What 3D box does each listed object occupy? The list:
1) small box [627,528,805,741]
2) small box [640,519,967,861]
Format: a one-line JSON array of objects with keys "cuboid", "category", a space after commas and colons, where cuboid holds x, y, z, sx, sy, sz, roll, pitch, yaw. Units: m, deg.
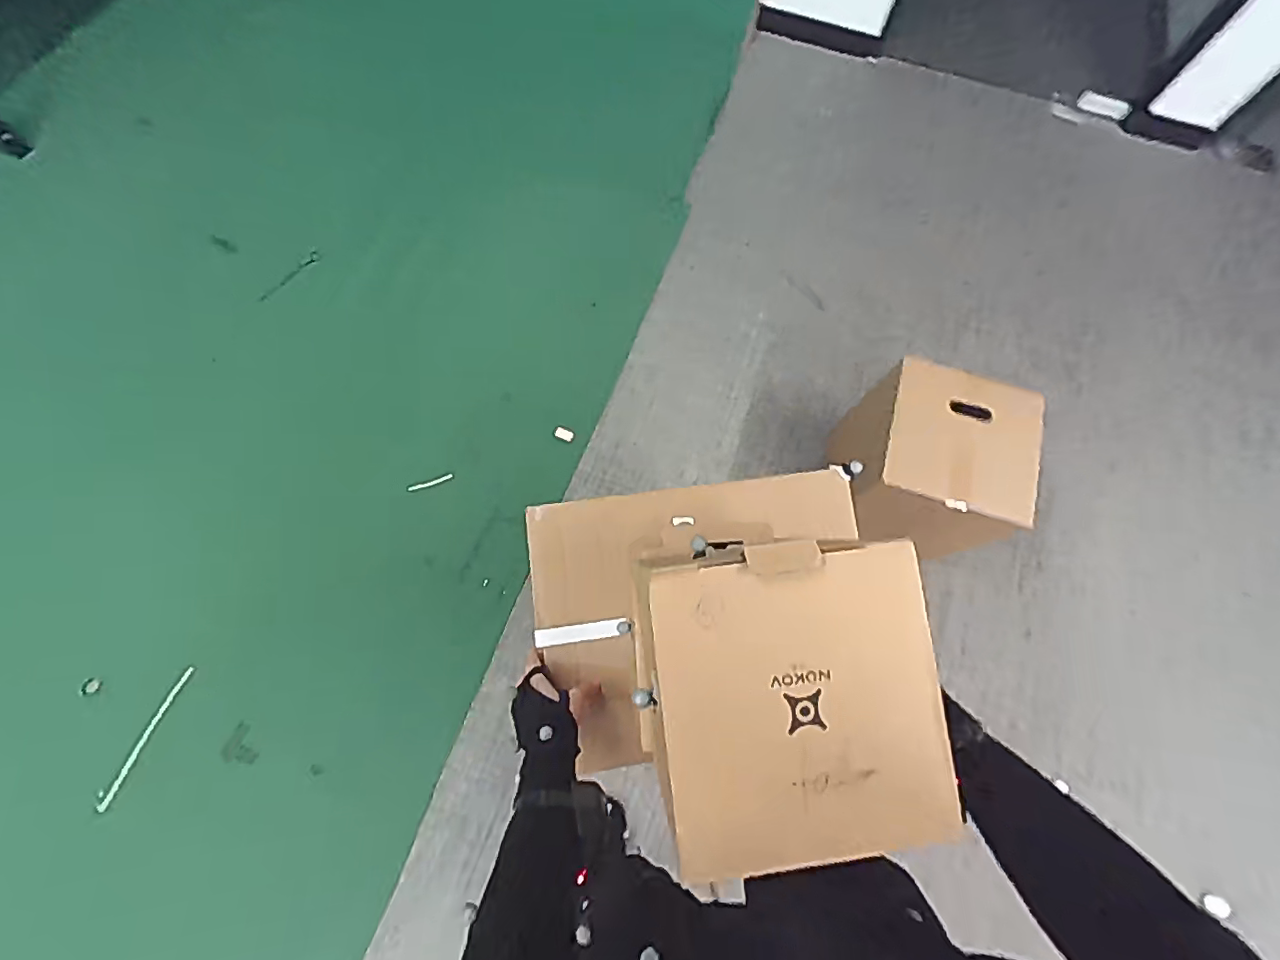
[{"cuboid": [0.075, 0.144, 0.556, 0.168, 0.176, 0.179, -3, 84, -4], "category": "small box"}, {"cuboid": [0.093, 0.129, 0.395, 0.168, 0.176, 0.179, -7, 83, -4], "category": "small box"}]
